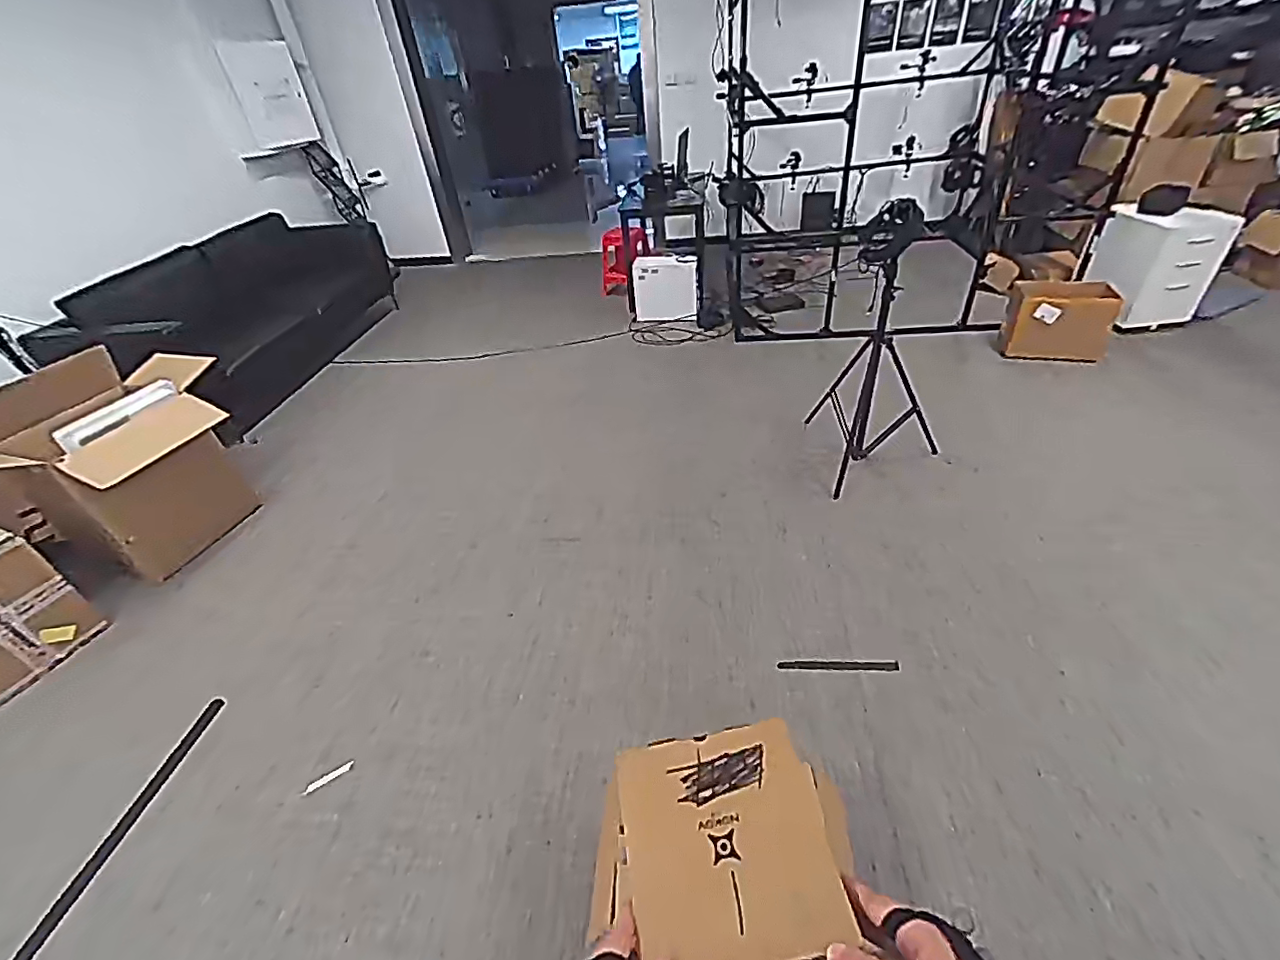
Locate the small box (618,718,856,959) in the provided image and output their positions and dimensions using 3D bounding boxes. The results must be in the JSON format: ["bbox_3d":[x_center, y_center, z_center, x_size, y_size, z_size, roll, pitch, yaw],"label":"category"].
[{"bbox_3d":[0.076,0.359,0.508,0.168,0.176,0.179,-11,40,-2],"label":"small box"}]
